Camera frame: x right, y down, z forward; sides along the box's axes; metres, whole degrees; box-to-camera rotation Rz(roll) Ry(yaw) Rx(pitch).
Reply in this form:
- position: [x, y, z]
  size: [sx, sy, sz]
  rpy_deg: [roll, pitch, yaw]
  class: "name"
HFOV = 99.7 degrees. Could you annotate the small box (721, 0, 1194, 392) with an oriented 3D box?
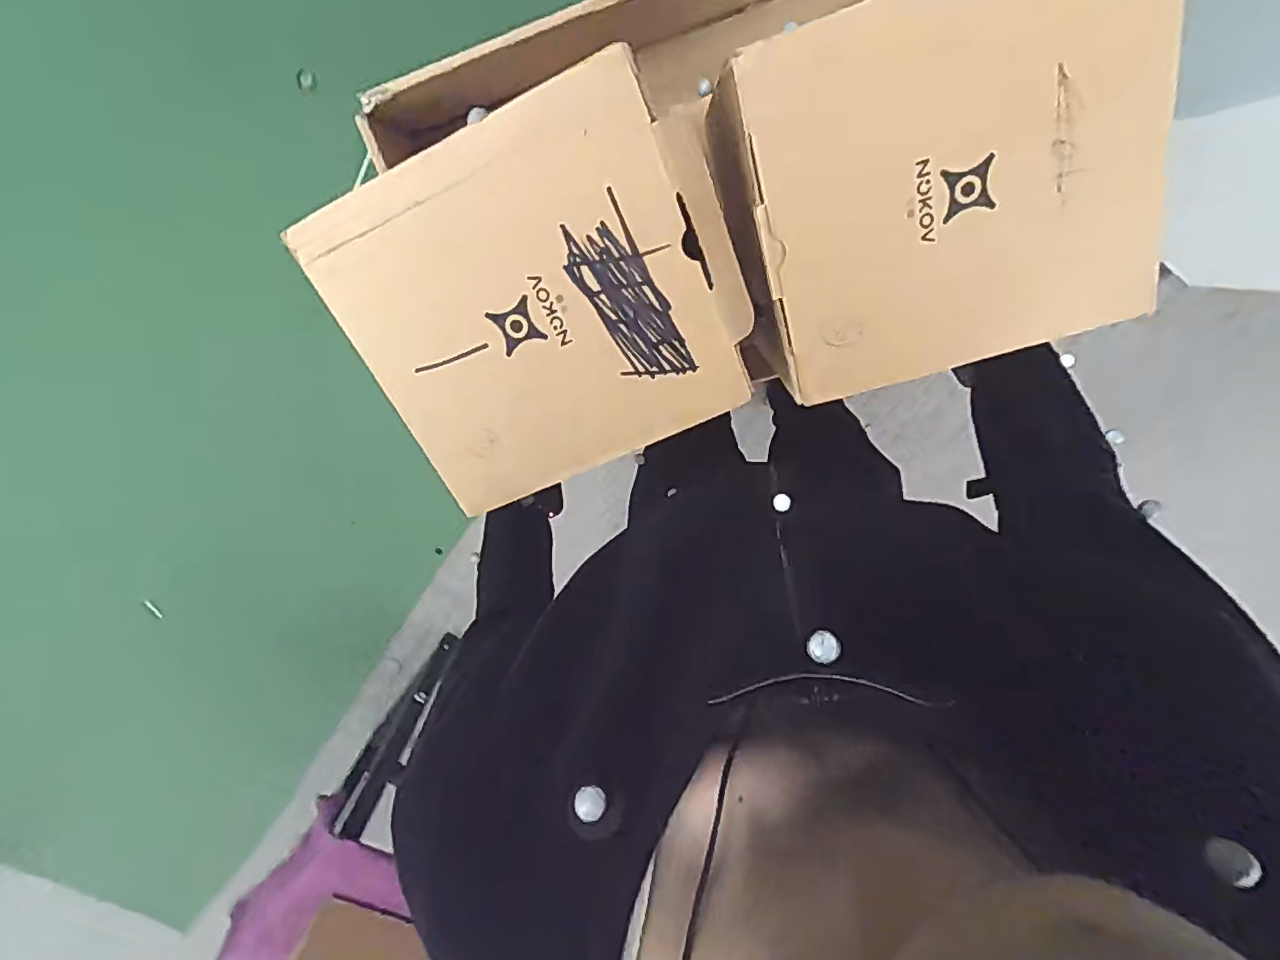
- position: [0.148, -0.170, 0.312]
  size: [0.179, 0.176, 0.168]
  rpy_deg: [-14, 115, 10]
  class: "small box"
